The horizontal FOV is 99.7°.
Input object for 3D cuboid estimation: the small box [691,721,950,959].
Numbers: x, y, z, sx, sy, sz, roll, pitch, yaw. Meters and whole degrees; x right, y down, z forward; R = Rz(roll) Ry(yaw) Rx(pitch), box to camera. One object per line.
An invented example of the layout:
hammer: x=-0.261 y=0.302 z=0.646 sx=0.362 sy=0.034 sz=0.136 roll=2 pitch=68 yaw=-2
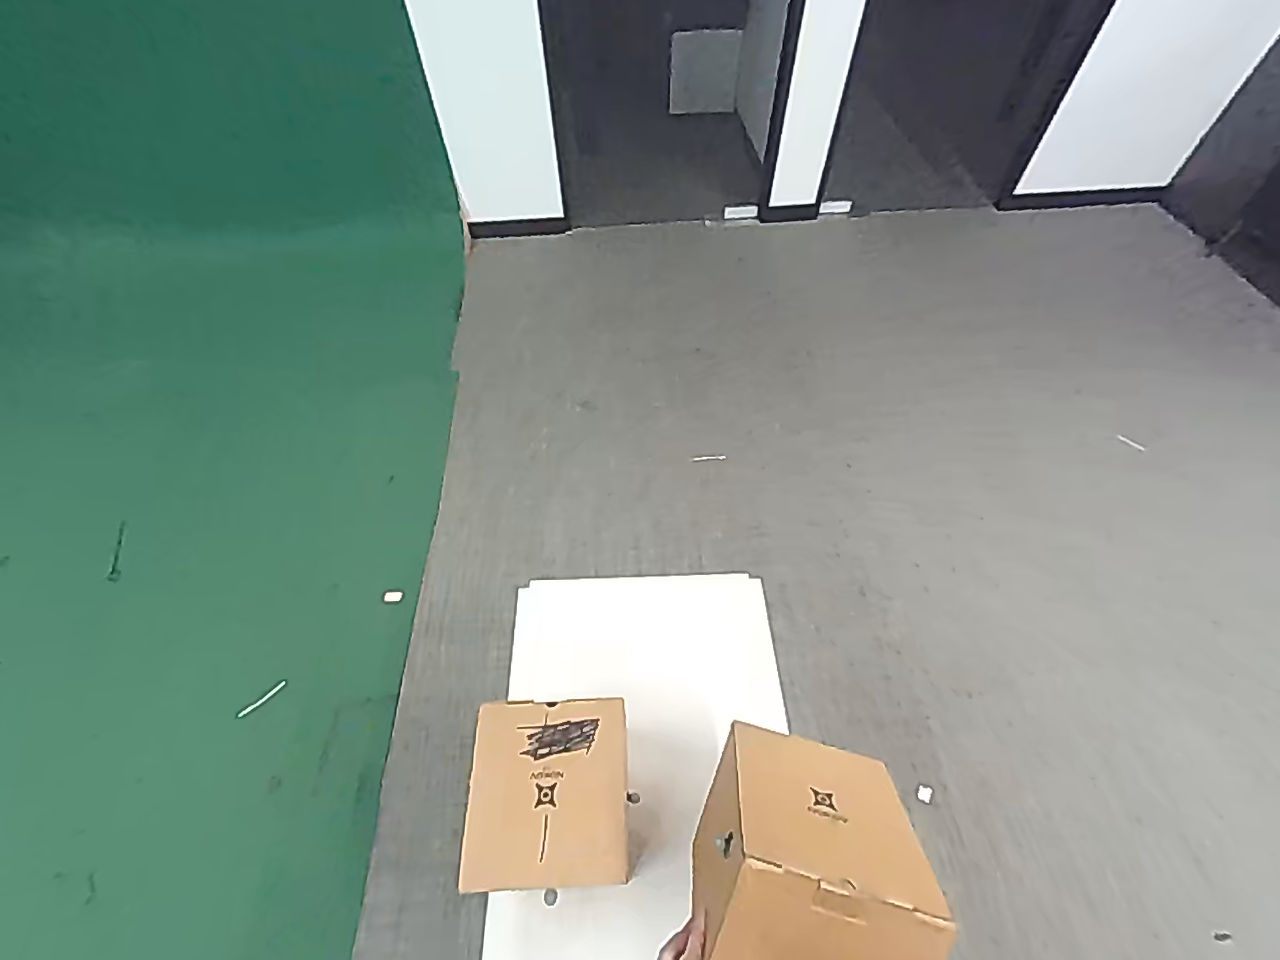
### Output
small box: x=0.148 y=0.374 z=0.512 sx=0.168 sy=0.176 sz=0.179 roll=14 pitch=13 yaw=4

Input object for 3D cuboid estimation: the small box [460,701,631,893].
small box: x=-0.095 y=0.373 z=0.635 sx=0.168 sy=0.176 sz=0.179 roll=-2 pitch=55 yaw=-1
